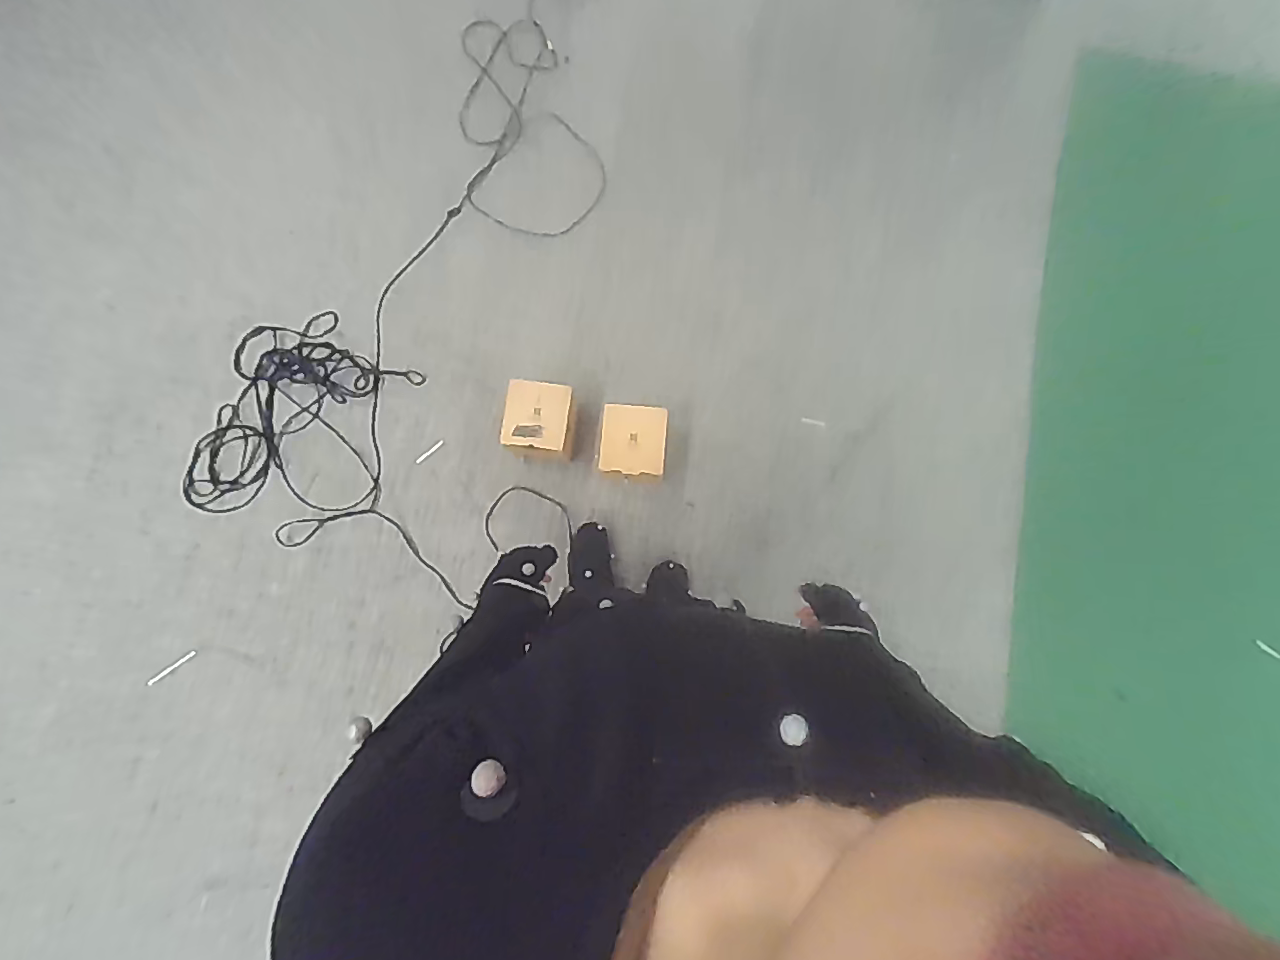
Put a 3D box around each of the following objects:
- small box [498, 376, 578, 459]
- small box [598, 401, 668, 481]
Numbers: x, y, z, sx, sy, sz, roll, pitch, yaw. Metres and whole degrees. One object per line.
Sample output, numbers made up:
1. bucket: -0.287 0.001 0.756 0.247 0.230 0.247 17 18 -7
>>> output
1. small box: -0.265 -0.160 1.448 0.168 0.176 0.179 8 82 1
2. small box: -0.018 -0.098 1.442 0.168 0.176 0.179 5 84 1
